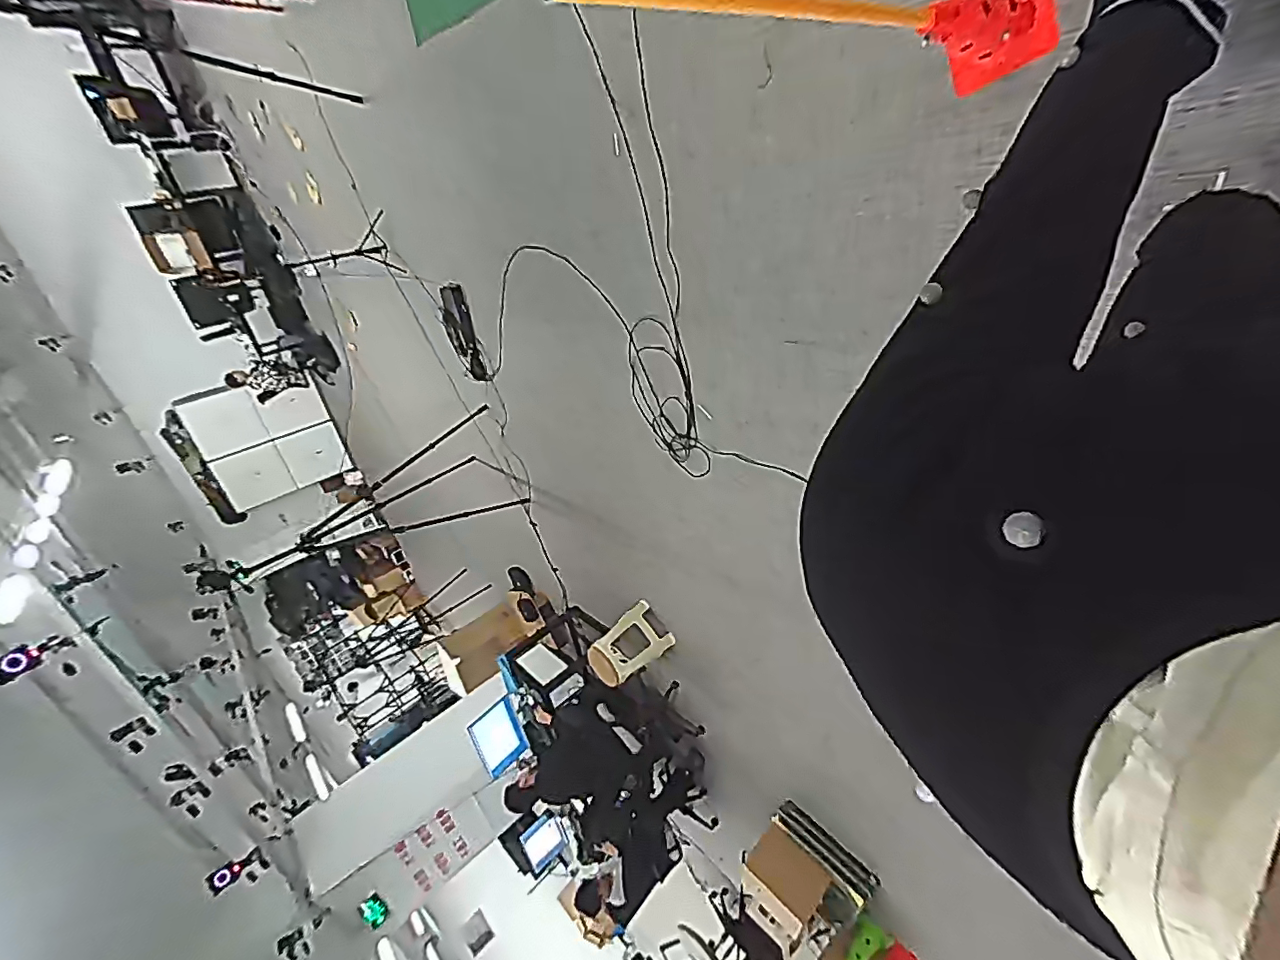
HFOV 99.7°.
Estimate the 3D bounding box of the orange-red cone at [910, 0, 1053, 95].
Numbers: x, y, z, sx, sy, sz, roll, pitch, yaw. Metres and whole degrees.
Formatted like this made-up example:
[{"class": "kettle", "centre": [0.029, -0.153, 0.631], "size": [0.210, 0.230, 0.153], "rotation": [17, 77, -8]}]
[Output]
[{"class": "orange-red cone", "centre": [0.630, -0.896, 1.061], "size": [0.199, 0.360, 0.198], "rotation": [3, 117, 54]}]
